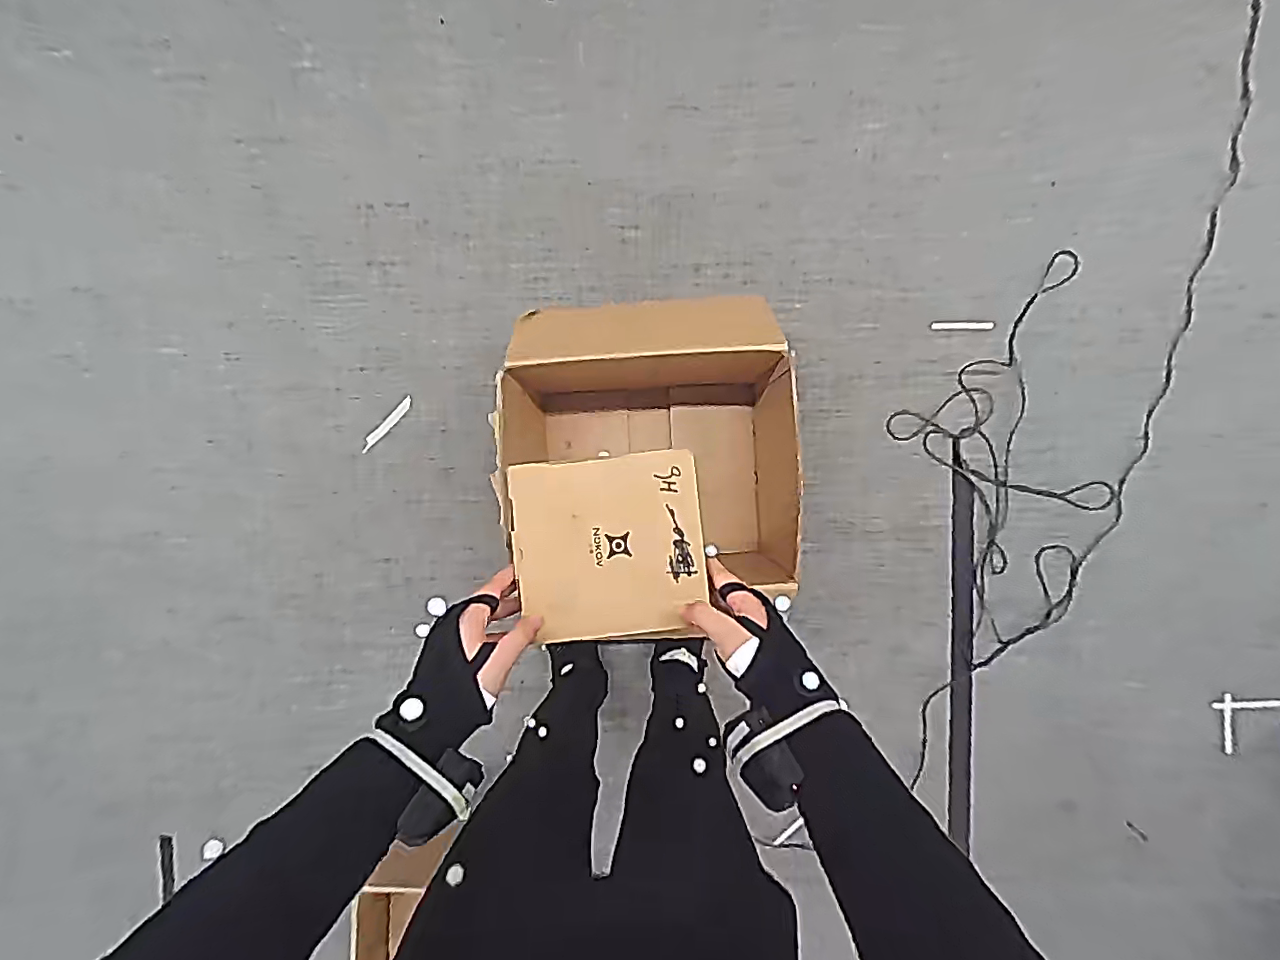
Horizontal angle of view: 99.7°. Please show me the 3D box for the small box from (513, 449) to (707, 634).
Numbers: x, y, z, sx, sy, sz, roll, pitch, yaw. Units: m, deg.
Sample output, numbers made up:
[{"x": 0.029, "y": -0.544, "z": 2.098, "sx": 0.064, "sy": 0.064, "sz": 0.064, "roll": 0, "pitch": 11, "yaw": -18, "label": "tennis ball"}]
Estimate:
[{"x": -0.030, "y": 0.063, "z": 0.594, "sx": 0.179, "sy": 0.176, "sz": 0.168, "roll": -6, "pitch": 87, "yaw": -2, "label": "small box"}]
